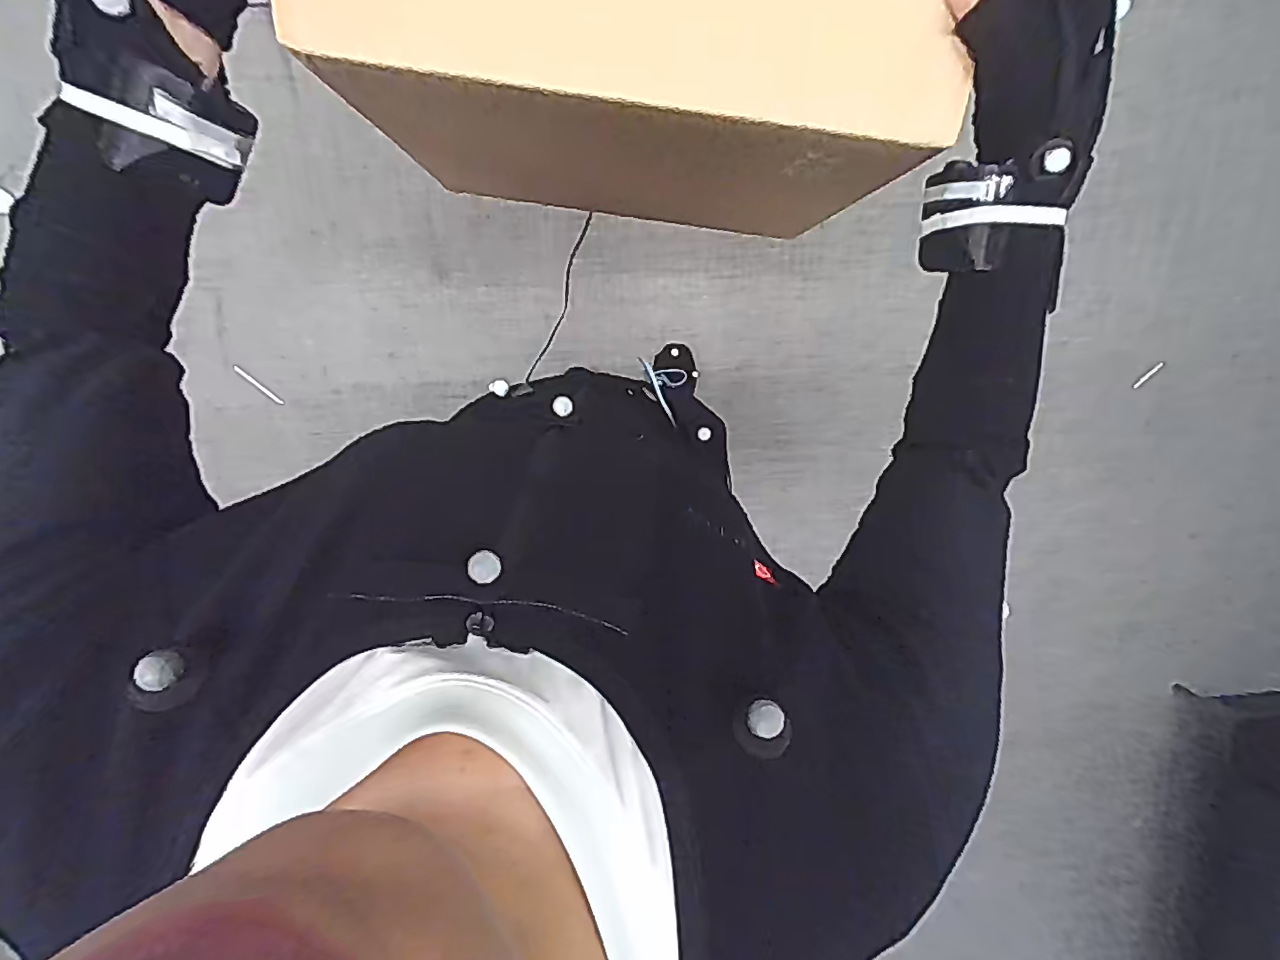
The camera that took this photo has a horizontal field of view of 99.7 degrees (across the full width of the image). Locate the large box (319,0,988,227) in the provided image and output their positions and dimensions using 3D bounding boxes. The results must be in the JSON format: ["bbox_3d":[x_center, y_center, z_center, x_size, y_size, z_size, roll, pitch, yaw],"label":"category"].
[{"bbox_3d":[0.013,-0.419,0.439,0.408,0.320,0.320,5,105,-5],"label":"large box"}]
